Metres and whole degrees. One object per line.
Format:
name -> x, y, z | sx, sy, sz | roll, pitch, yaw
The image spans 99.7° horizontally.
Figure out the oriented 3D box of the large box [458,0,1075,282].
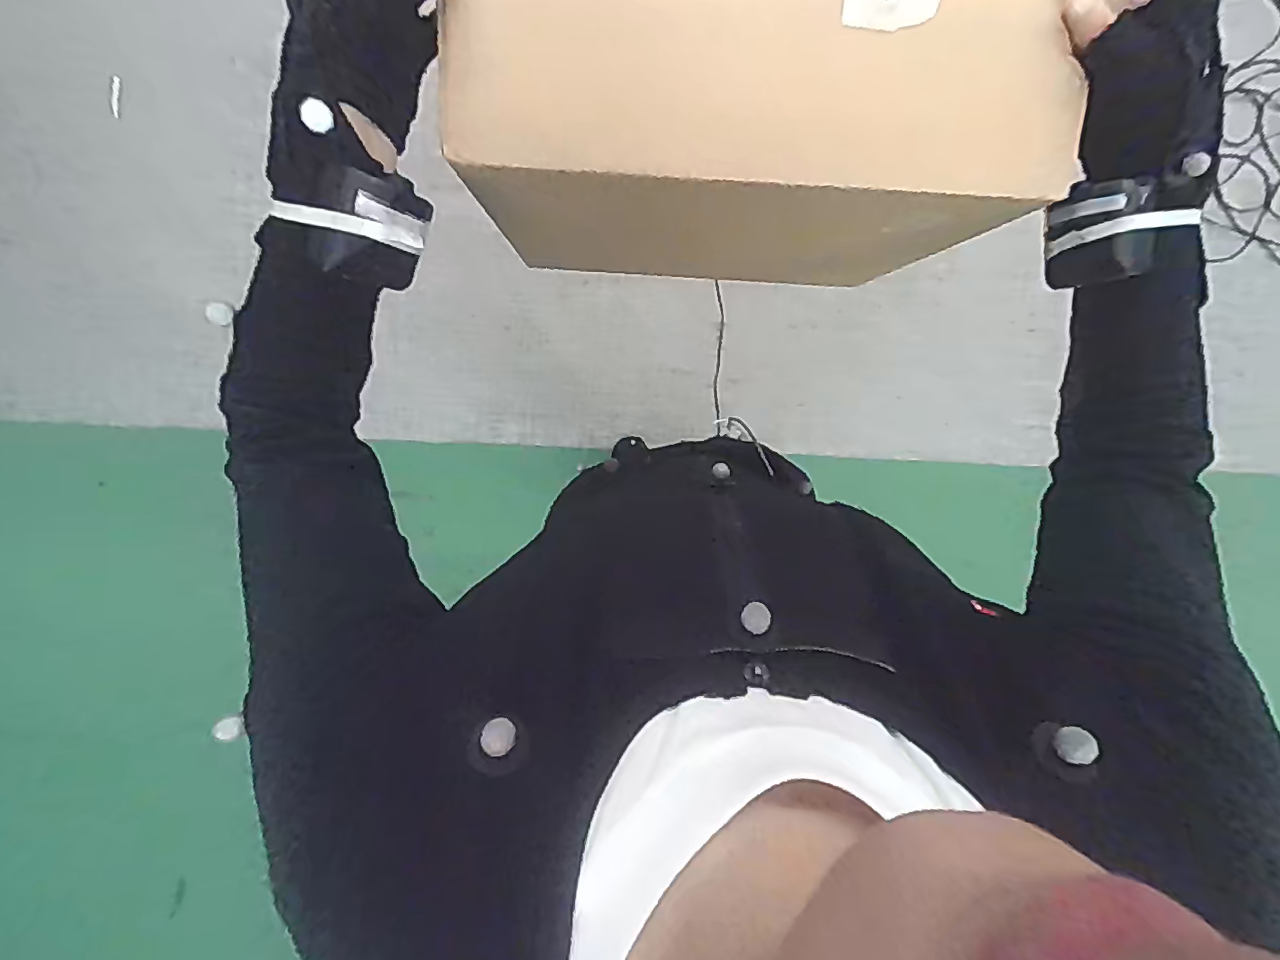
large box -> 0.077, -0.372, 0.484 | 0.408, 0.320, 0.320 | 2, 100, -3
